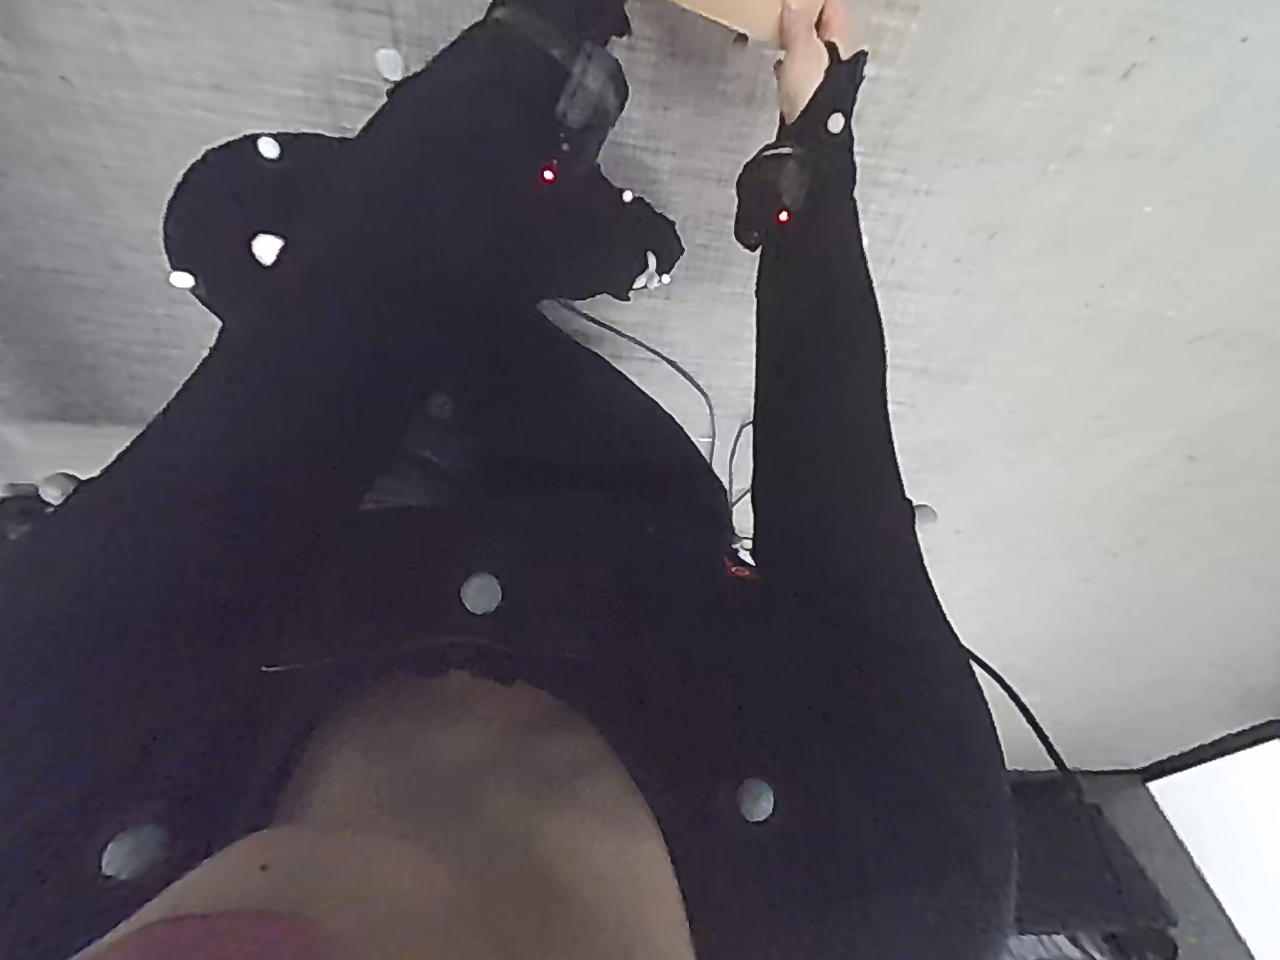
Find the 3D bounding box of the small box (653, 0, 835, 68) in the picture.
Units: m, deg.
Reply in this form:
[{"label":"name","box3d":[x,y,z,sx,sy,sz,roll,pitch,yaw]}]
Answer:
[{"label":"small box","box3d":[0.081,-0.484,0.441,0.179,0.176,0.168,10,137,-18]}]
